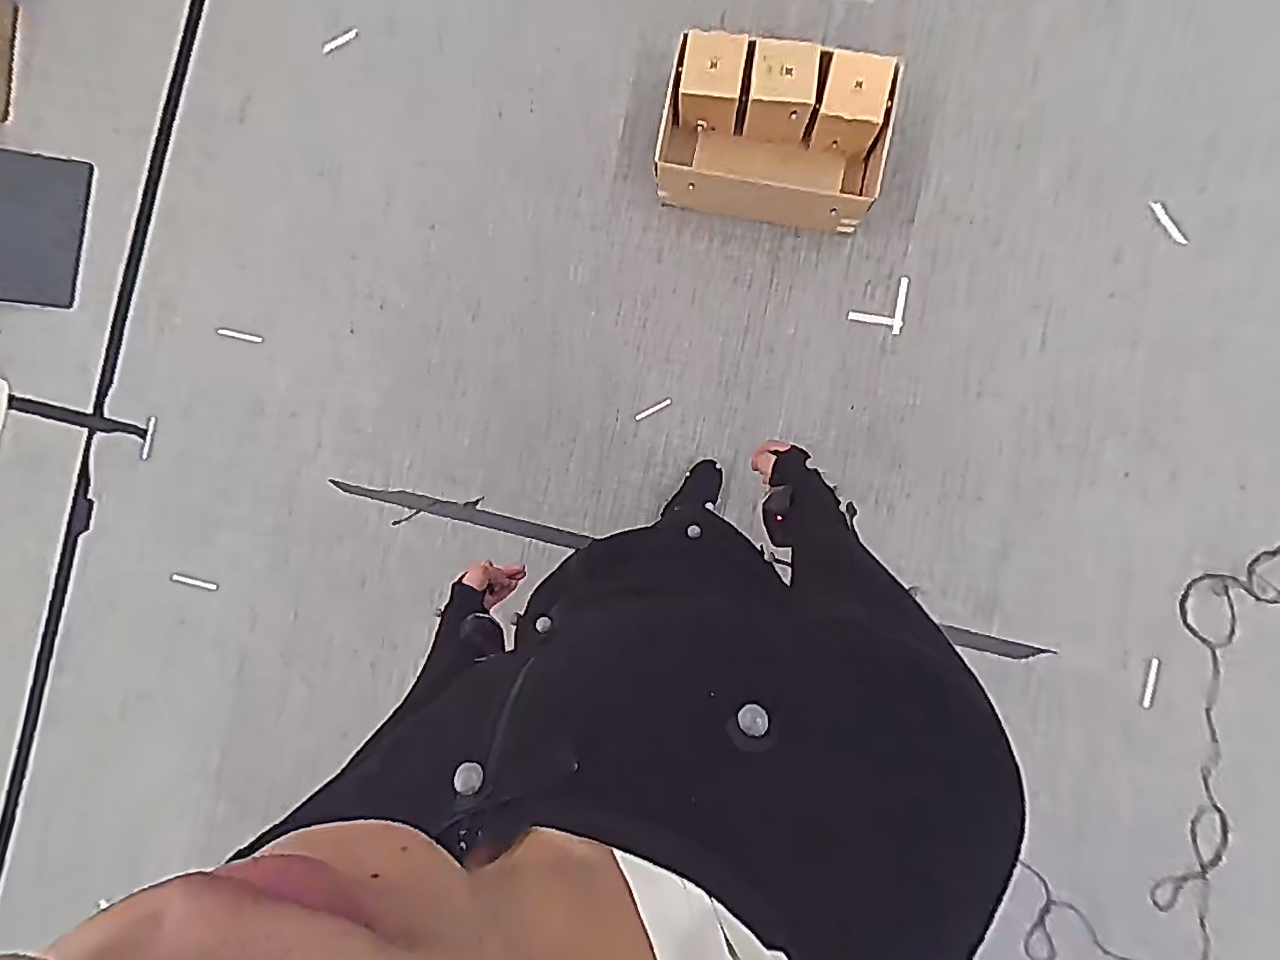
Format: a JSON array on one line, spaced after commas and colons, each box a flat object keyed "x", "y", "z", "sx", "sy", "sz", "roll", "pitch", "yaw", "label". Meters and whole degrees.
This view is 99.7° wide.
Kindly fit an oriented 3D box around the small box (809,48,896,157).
[{"x": 0.584, "y": -1.046, "z": 1.507, "sx": 0.168, "sy": 0.176, "sz": 0.179, "roll": 12, "pitch": 92, "yaw": 5, "label": "small box"}]
